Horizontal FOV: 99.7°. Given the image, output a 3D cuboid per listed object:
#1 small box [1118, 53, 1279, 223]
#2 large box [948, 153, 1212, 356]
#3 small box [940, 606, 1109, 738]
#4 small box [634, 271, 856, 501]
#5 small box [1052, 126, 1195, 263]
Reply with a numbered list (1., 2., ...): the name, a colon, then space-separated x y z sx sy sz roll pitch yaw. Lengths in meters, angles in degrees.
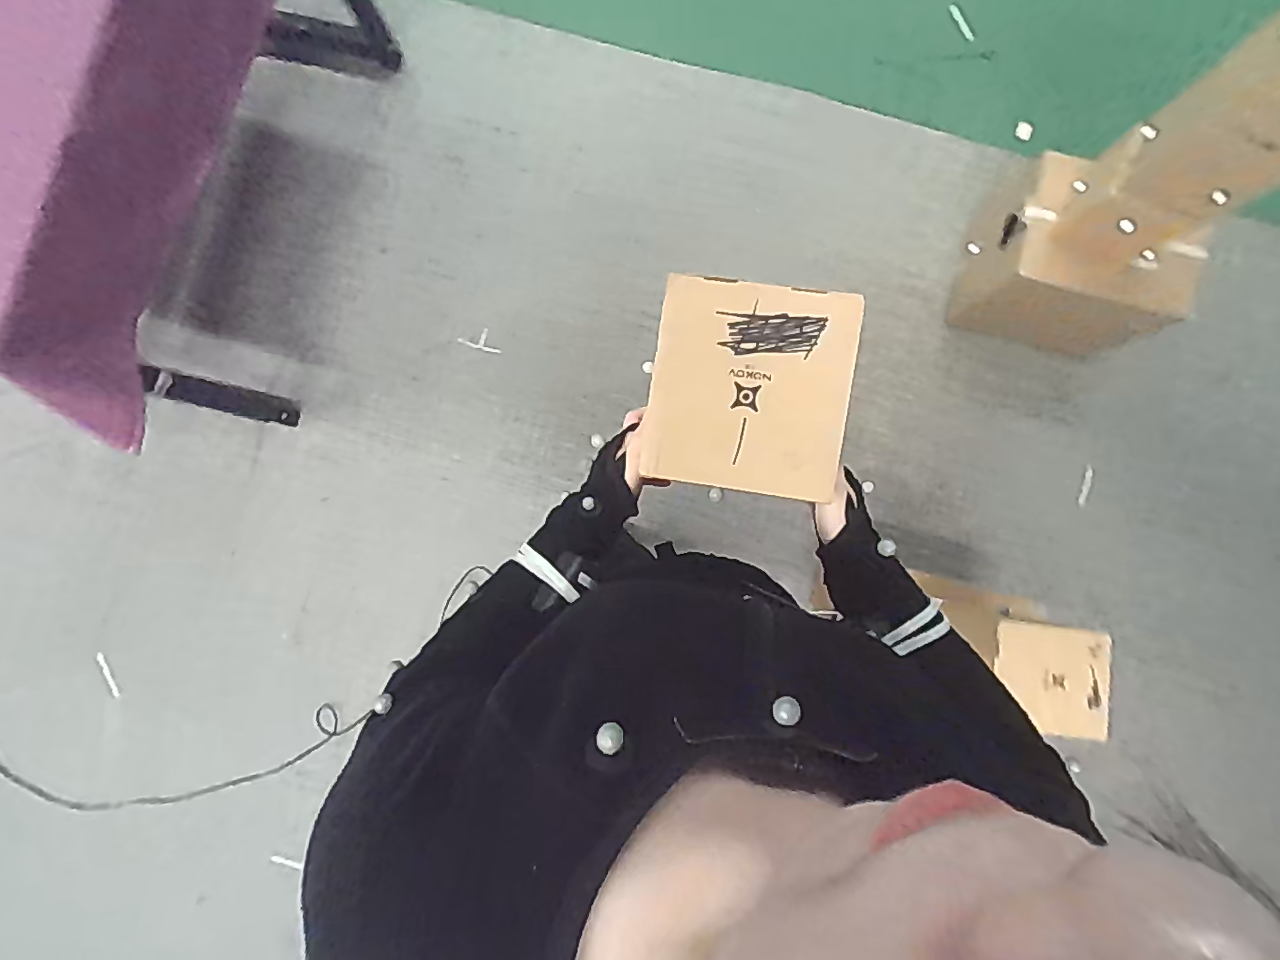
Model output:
1. small box: 1.045 -0.603 0.981 0.179 0.176 0.168 30 86 4
2. large box: 1.090 -0.552 1.383 0.408 0.320 0.320 16 87 1
3. small box: 0.644 0.316 0.926 0.179 0.176 0.168 8 85 3
4. small box: 0.093 -0.082 0.532 0.168 0.176 0.179 8 93 5
5. small box: 1.038 -0.589 1.143 0.179 0.176 0.168 27 87 3
